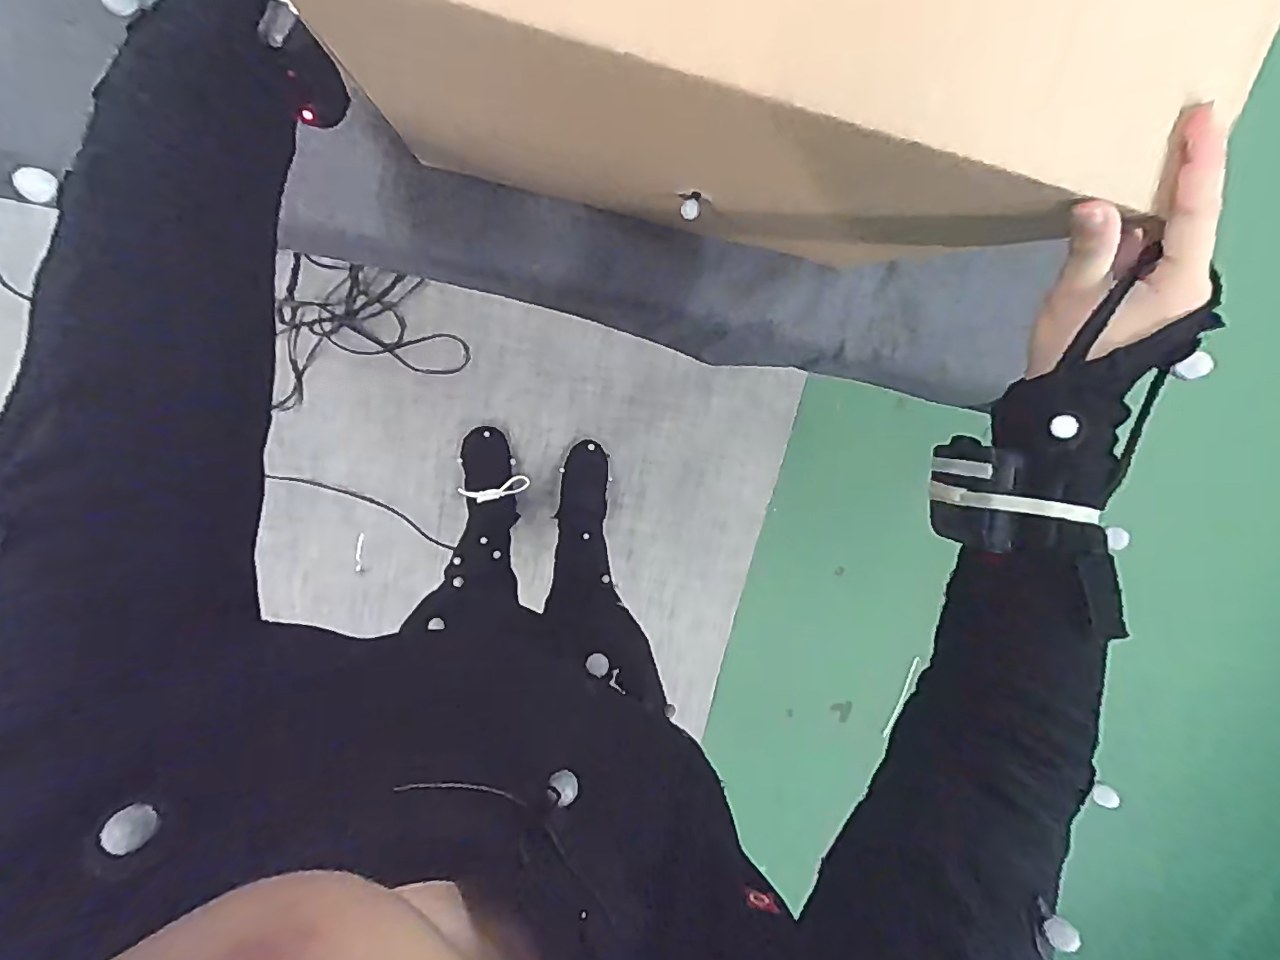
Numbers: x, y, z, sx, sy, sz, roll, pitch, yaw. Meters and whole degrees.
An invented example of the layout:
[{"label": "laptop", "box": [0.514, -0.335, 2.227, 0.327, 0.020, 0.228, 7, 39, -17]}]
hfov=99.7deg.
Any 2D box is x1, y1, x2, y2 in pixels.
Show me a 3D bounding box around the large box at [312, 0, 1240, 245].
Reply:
[{"label": "large box", "box": [0.069, -0.347, 0.326, 0.408, 0.320, 0.320, 7, 107, -13]}]
